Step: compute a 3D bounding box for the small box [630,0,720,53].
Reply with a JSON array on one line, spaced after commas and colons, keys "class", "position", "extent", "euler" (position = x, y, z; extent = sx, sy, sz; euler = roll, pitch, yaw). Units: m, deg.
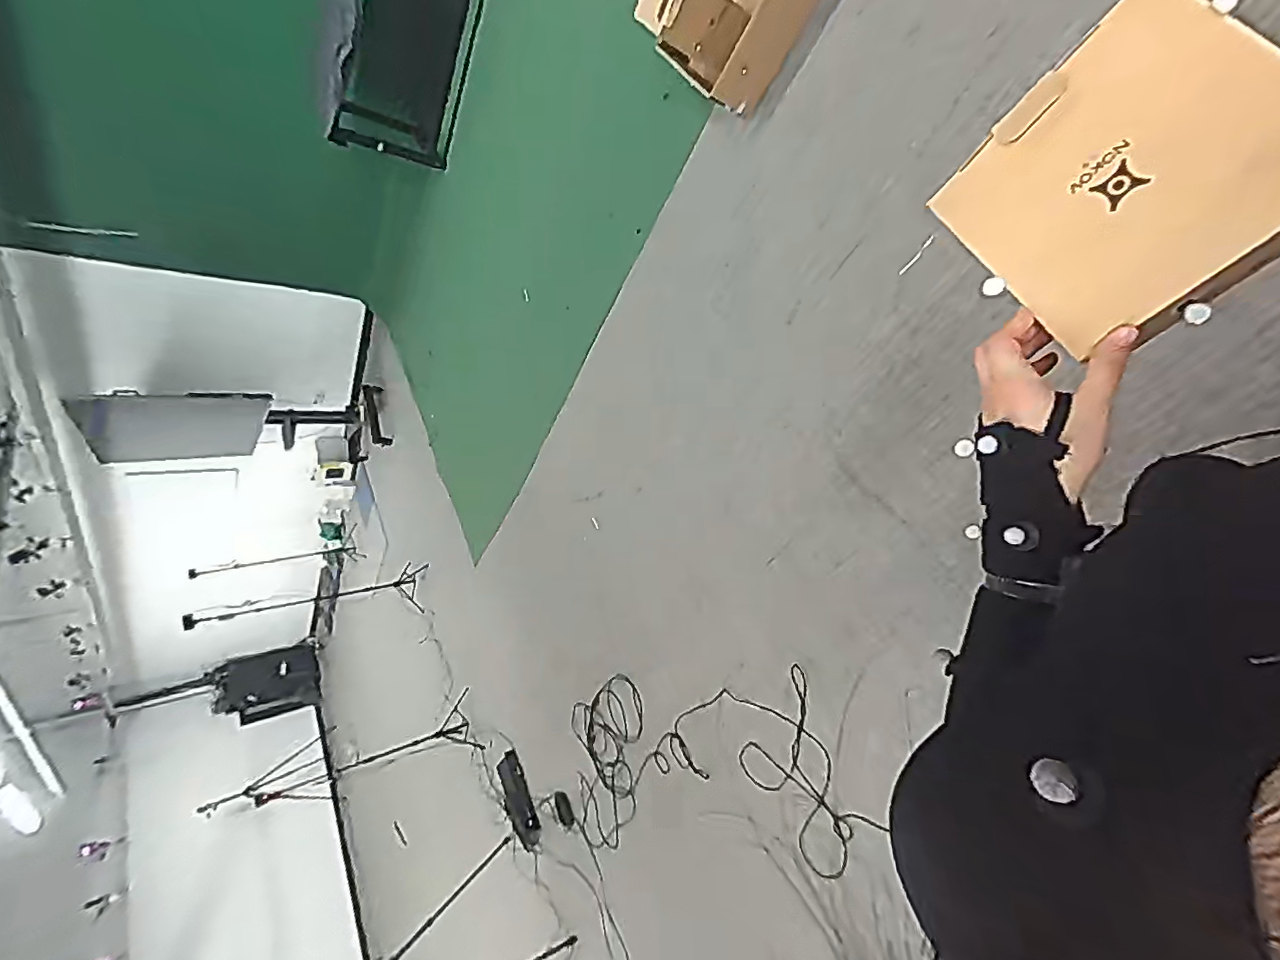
[{"class": "small box", "position": [0.107, -1.419, 1.607], "extent": [0.168, 0.176, 0.179], "euler": [-53, 55, 37]}]

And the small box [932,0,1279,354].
[{"class": "small box", "position": [0.374, -0.216, 0.408], "extent": [0.168, 0.176, 0.179], "euler": [-48, 63, 43]}]

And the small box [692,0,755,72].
[{"class": "small box", "position": [0.228, -1.443, 1.717], "extent": [0.179, 0.176, 0.168], "euler": [58, 132, 27]}]
